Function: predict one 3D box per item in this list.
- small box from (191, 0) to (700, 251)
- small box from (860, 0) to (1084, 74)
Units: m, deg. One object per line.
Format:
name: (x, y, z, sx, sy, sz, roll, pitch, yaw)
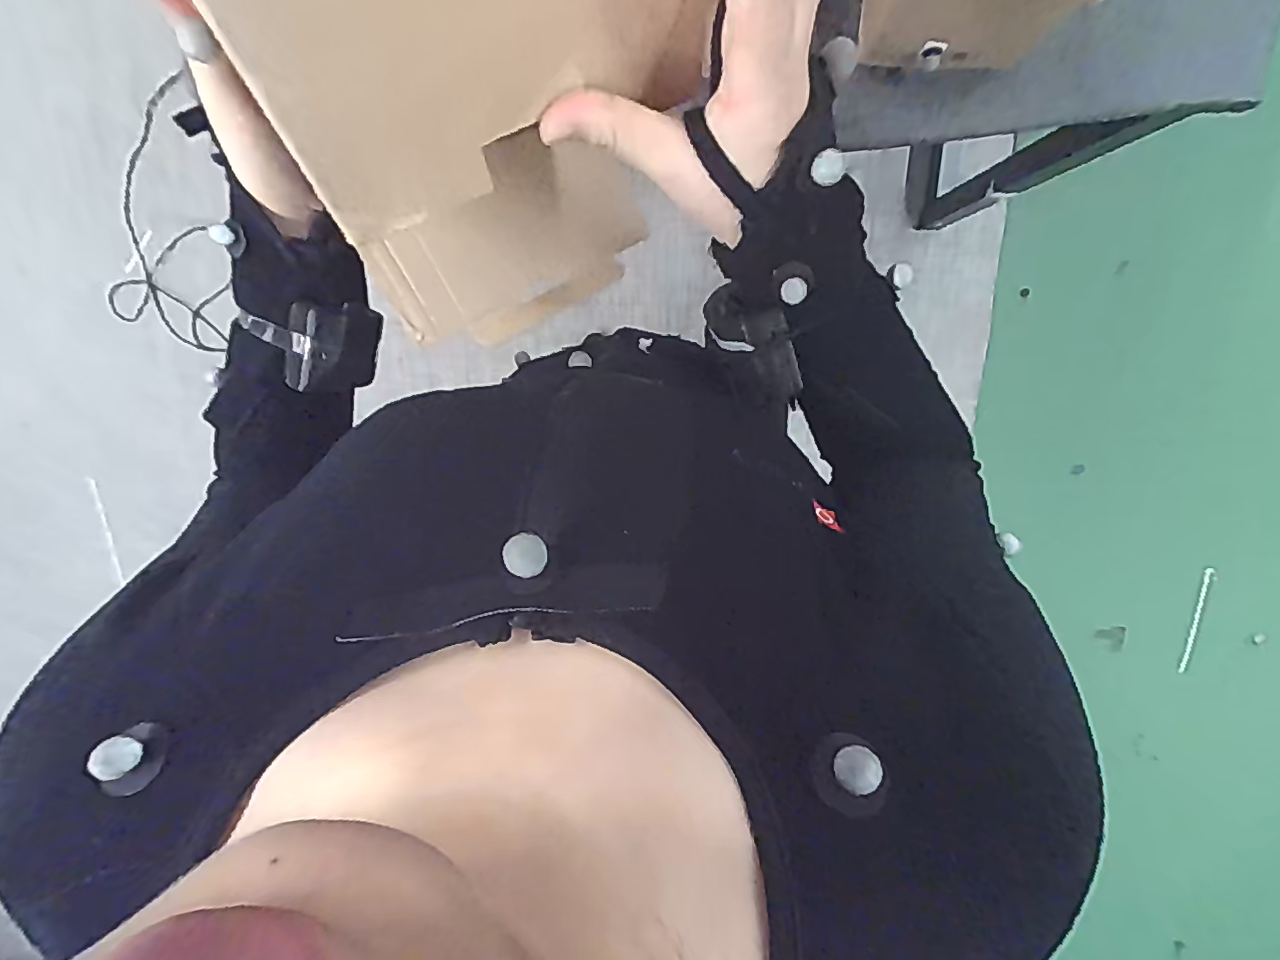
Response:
small box: (-0.092, -0.226, 0.180, 0.168, 0.176, 0.179, -31, 71, -12)
small box: (0.320, -0.521, 0.505, 0.168, 0.176, 0.179, 3, 104, 5)
